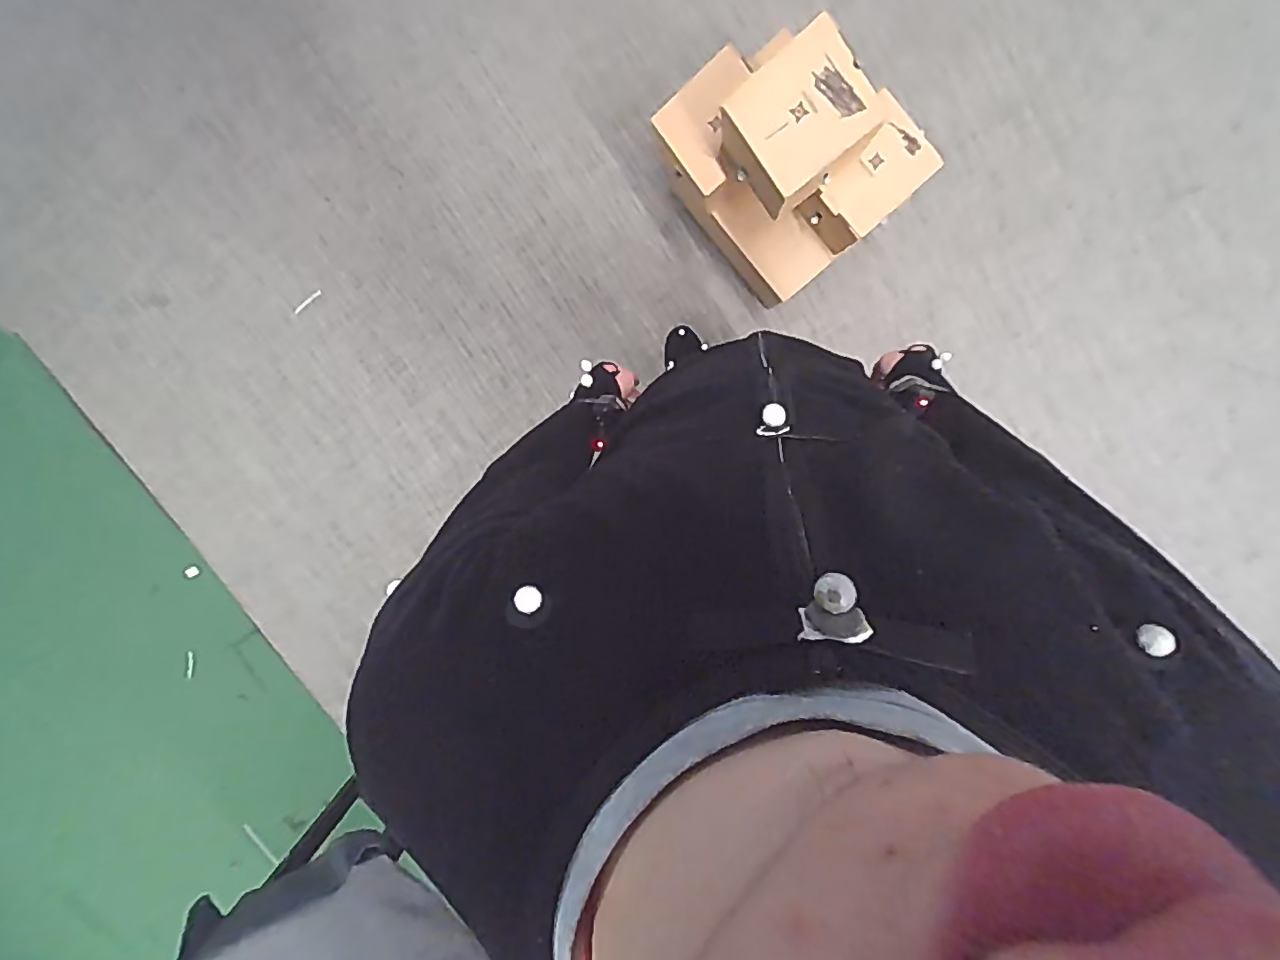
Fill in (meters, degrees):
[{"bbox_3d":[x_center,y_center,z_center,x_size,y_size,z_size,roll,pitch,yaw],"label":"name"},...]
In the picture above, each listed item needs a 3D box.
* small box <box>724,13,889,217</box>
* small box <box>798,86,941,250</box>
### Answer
[{"bbox_3d":[0.245,-0.548,0.843,0.179,0.176,0.168,-35,97,16],"label":"small box"},{"bbox_3d":[0.399,-0.553,0.992,0.179,0.176,0.168,-41,96,14],"label":"small box"}]
